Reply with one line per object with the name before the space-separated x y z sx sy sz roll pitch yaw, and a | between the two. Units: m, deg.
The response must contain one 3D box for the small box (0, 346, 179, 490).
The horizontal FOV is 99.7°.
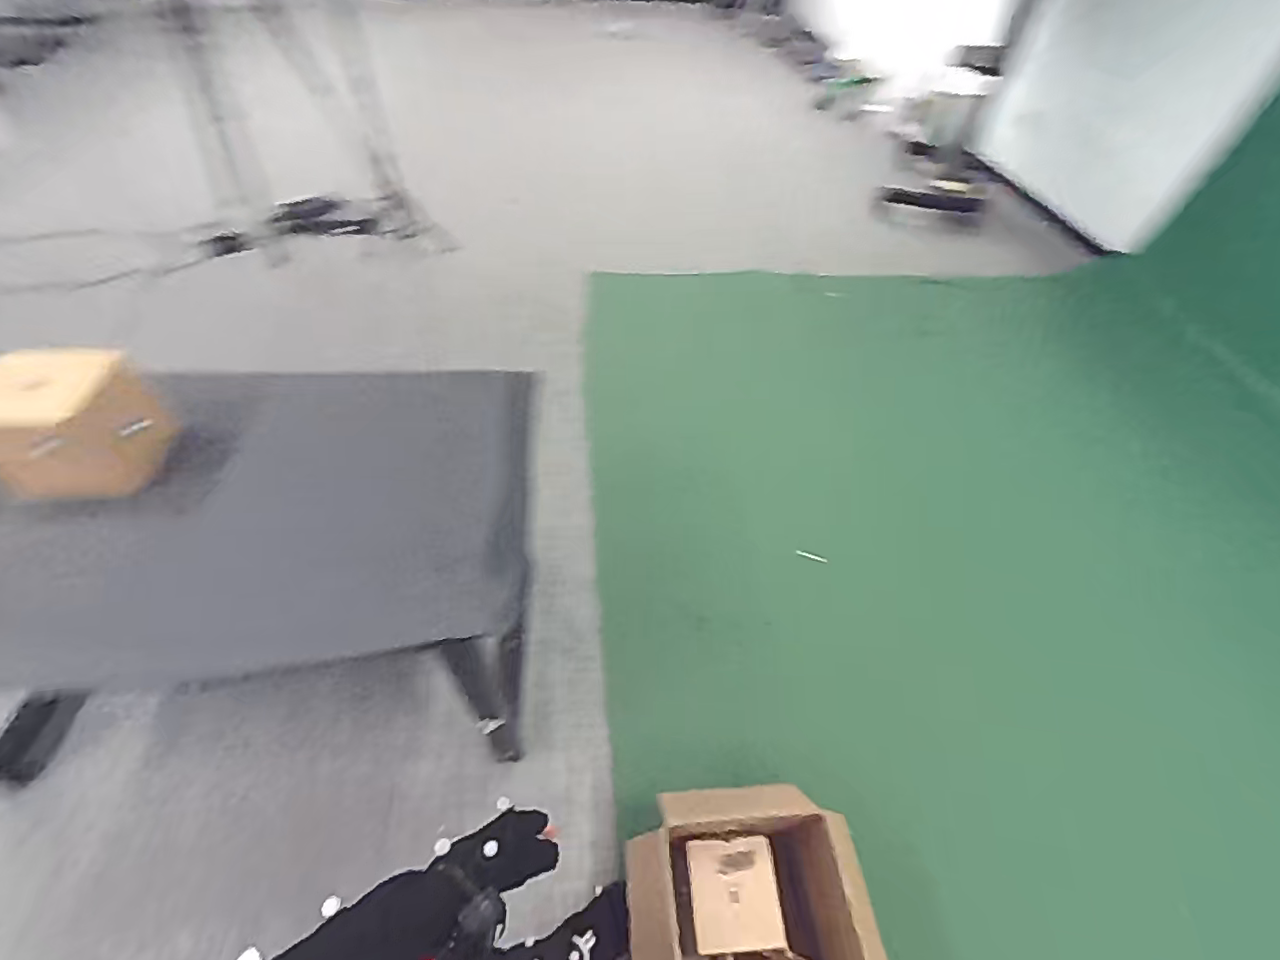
small box | -0.910 -0.097 0.874 0.179 0.176 0.168 -2 50 -6
